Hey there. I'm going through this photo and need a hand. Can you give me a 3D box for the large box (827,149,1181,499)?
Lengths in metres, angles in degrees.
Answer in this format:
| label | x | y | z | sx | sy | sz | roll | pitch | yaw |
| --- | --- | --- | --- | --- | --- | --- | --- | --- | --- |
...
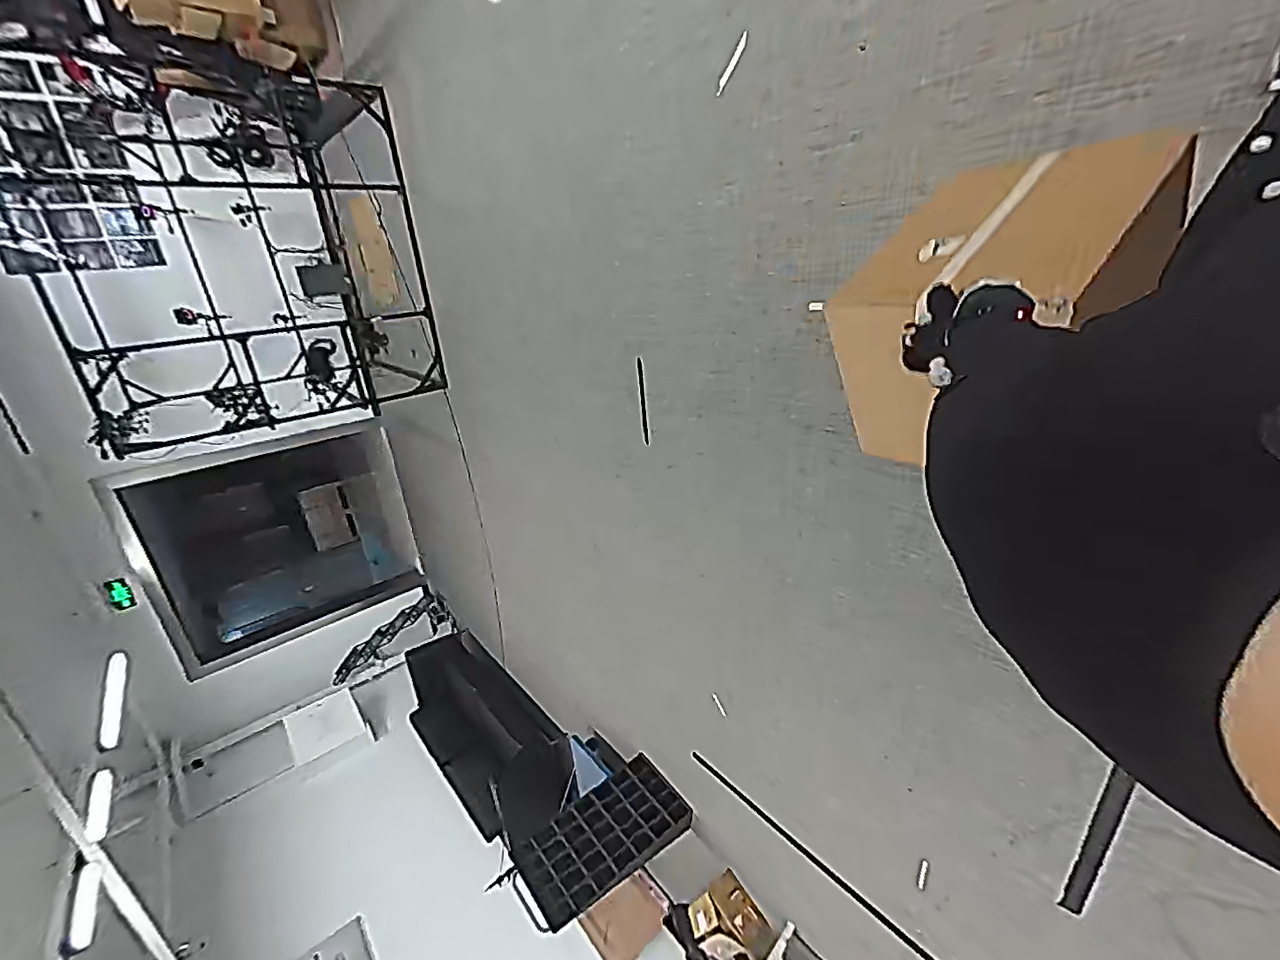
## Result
| label | x | y | z | sx | sy | sz | roll | pitch | yaw |
| --- | --- | --- | --- | --- | --- | --- | --- | --- | --- |
| large box | 0.568 | -0.241 | 0.855 | 0.320 | 0.408 | 0.320 | 20 | 149 | 51 |
